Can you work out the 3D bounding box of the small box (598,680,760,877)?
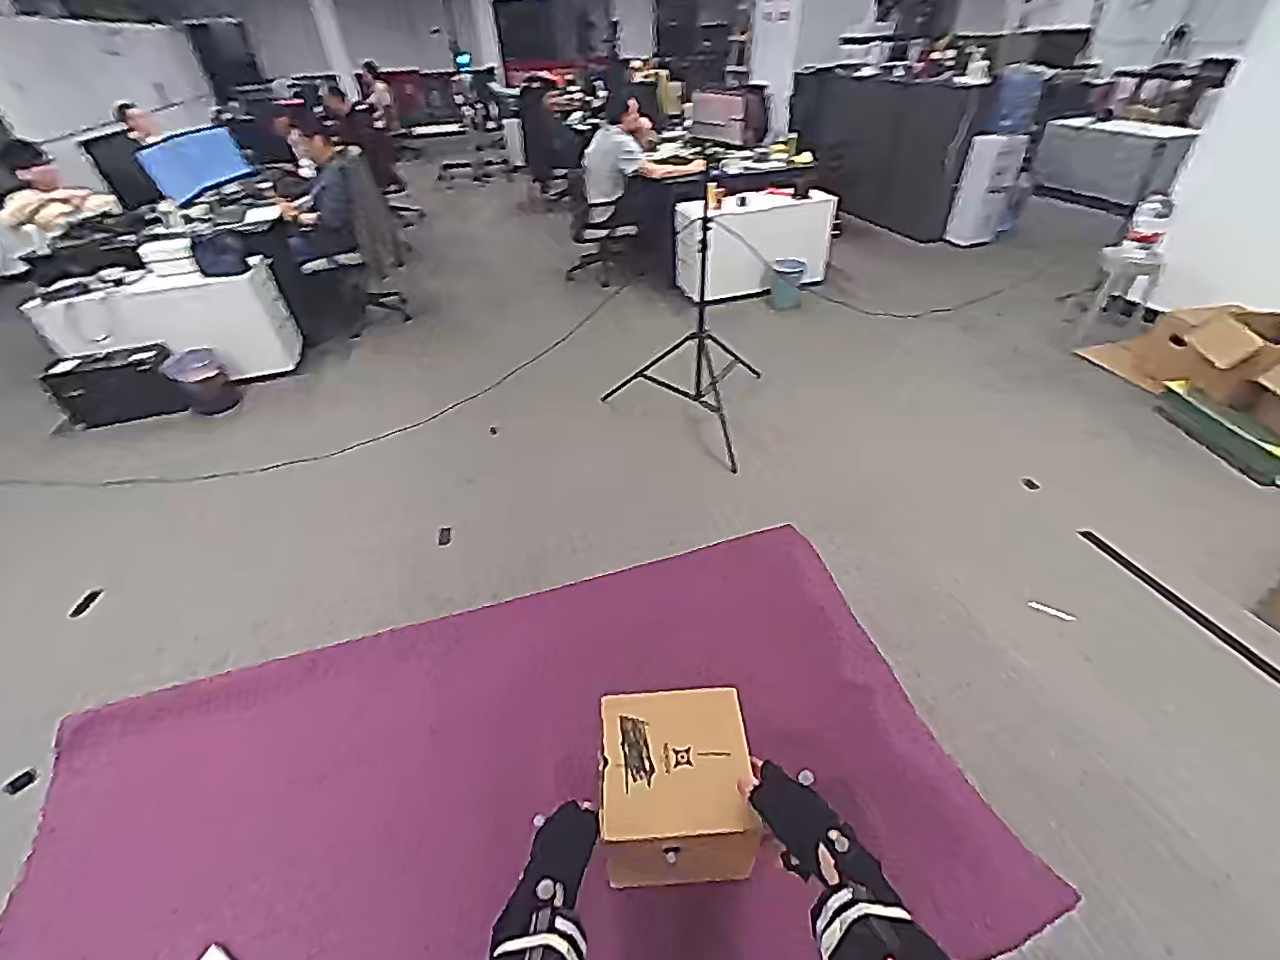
[{"bbox_3d":[0.043,0.377,0.682,0.179,0.176,0.168,-3,39,-1],"label":"small box"}]
